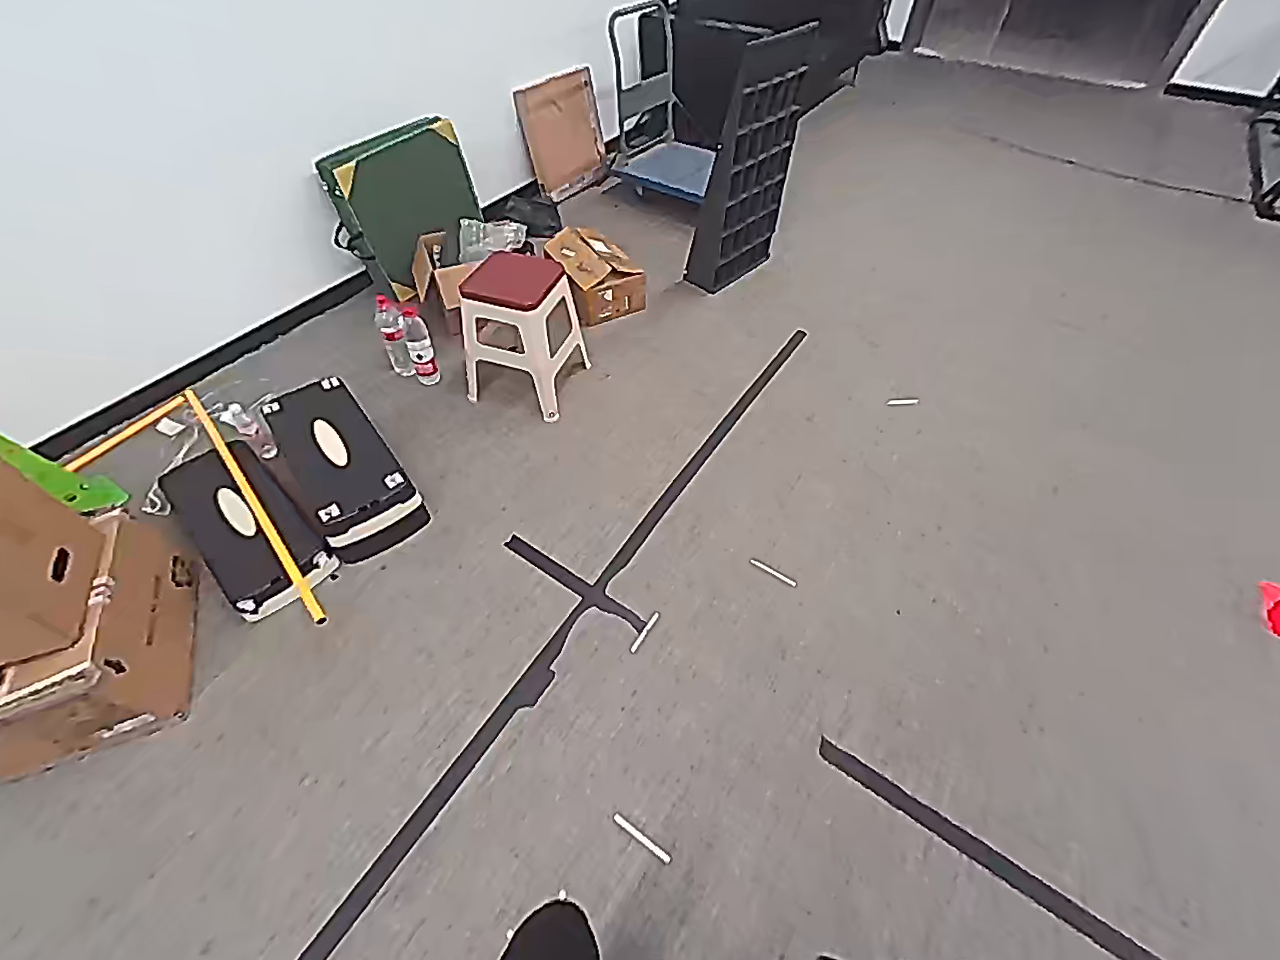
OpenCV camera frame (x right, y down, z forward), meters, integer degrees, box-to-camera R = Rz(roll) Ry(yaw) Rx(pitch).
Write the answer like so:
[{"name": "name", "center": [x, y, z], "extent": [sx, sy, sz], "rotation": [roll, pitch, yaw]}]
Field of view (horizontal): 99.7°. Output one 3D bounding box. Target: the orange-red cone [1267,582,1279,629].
[{"name": "orange-red cone", "center": [1.952, 0.297, 1.438], "extent": [0.199, 0.360, 0.198], "rotation": [24, 54, 19]}]
